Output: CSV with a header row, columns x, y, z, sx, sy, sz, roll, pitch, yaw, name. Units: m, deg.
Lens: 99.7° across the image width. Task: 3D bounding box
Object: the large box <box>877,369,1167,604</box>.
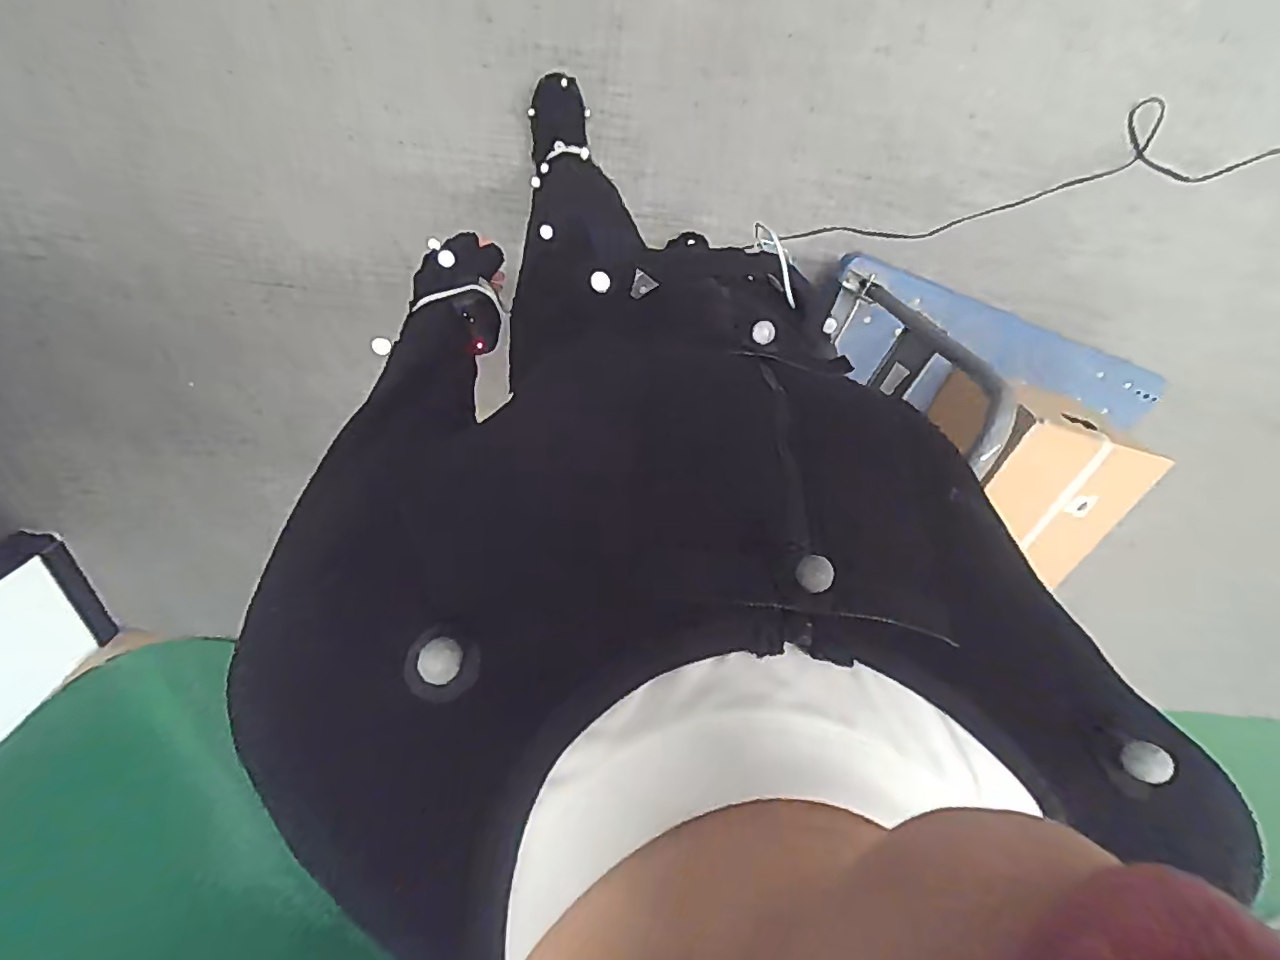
x,y,z,sx,sy,sz,roll,pitch,yaw,name
0.821,0.012,1.244,0.320,0.320,0.408,13,120,-8,large box
